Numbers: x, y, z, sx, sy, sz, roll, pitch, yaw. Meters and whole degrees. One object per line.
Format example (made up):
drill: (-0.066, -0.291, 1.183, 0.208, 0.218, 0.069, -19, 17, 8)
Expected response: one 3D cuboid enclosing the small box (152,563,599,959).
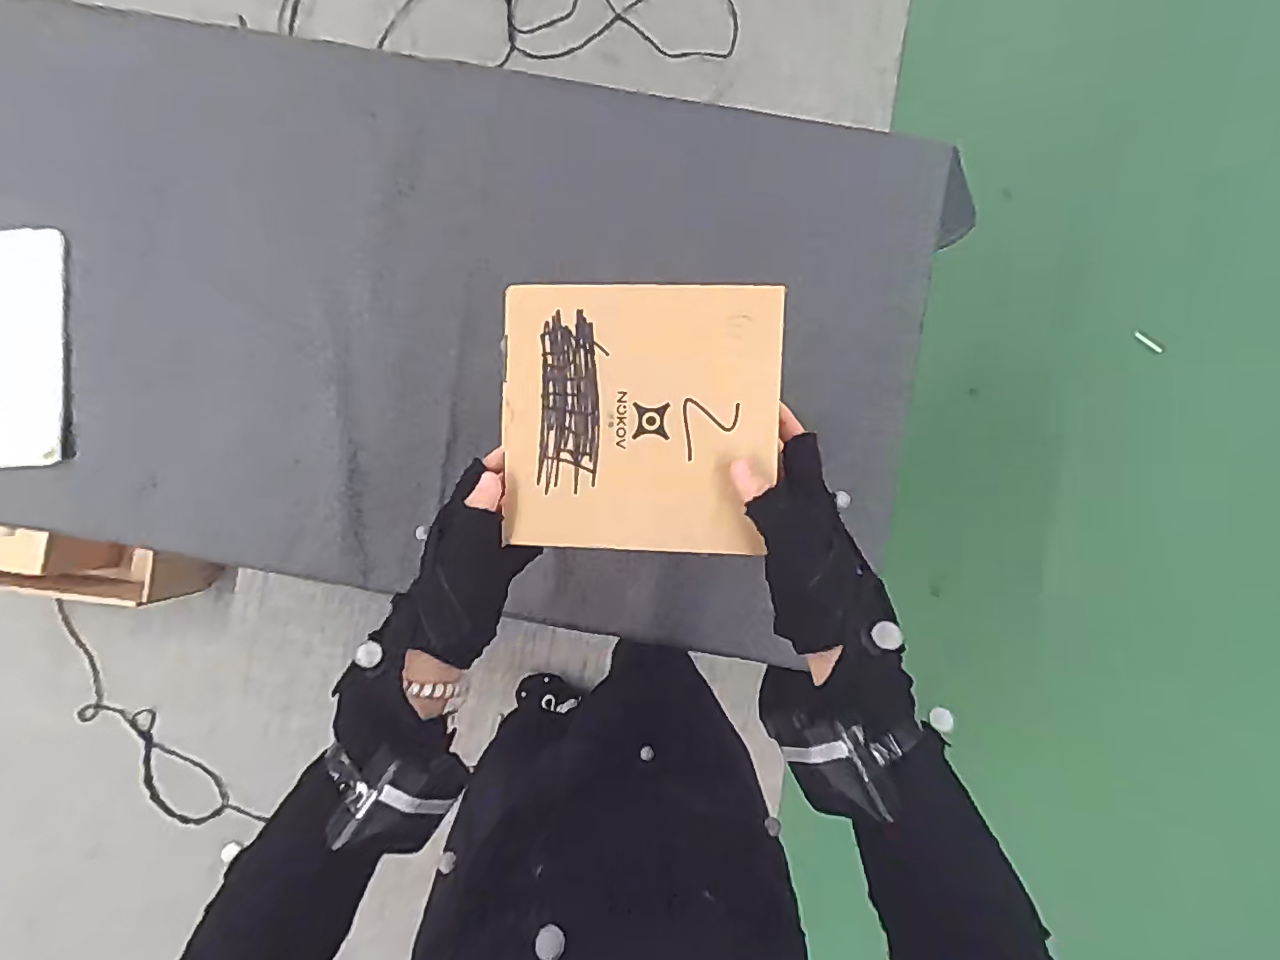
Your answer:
small box: (-0.162, 0.171, 0.366, 0.176, 0.179, 0.168, -6, 122, 34)
